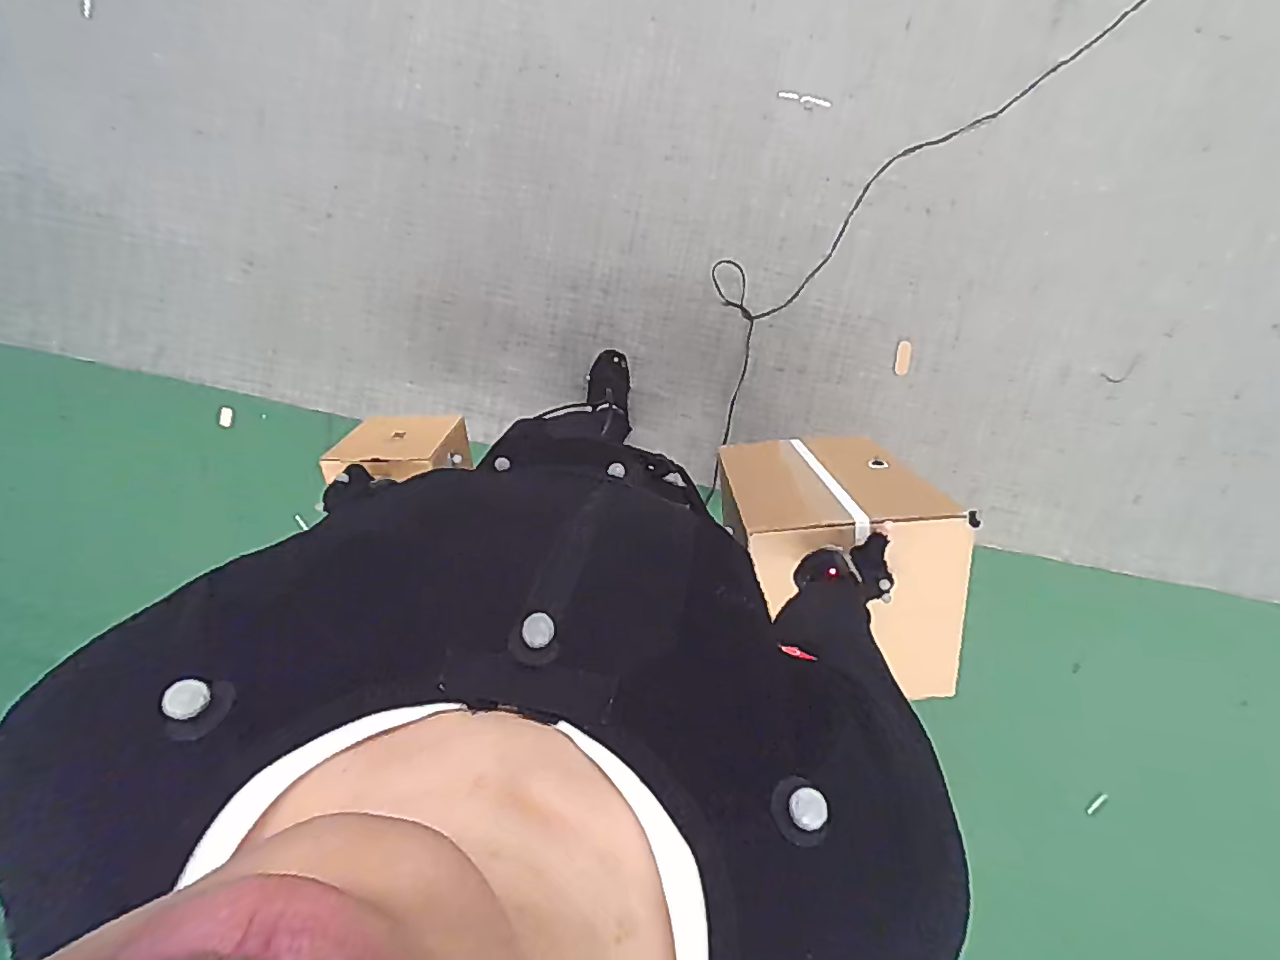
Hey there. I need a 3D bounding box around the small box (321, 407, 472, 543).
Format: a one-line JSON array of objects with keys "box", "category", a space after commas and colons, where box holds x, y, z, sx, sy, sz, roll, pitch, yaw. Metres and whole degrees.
[{"box": [-0.392, -0.013, 0.910, 0.168, 0.179, 0.176, -1, 120, 1], "category": "small box"}]
